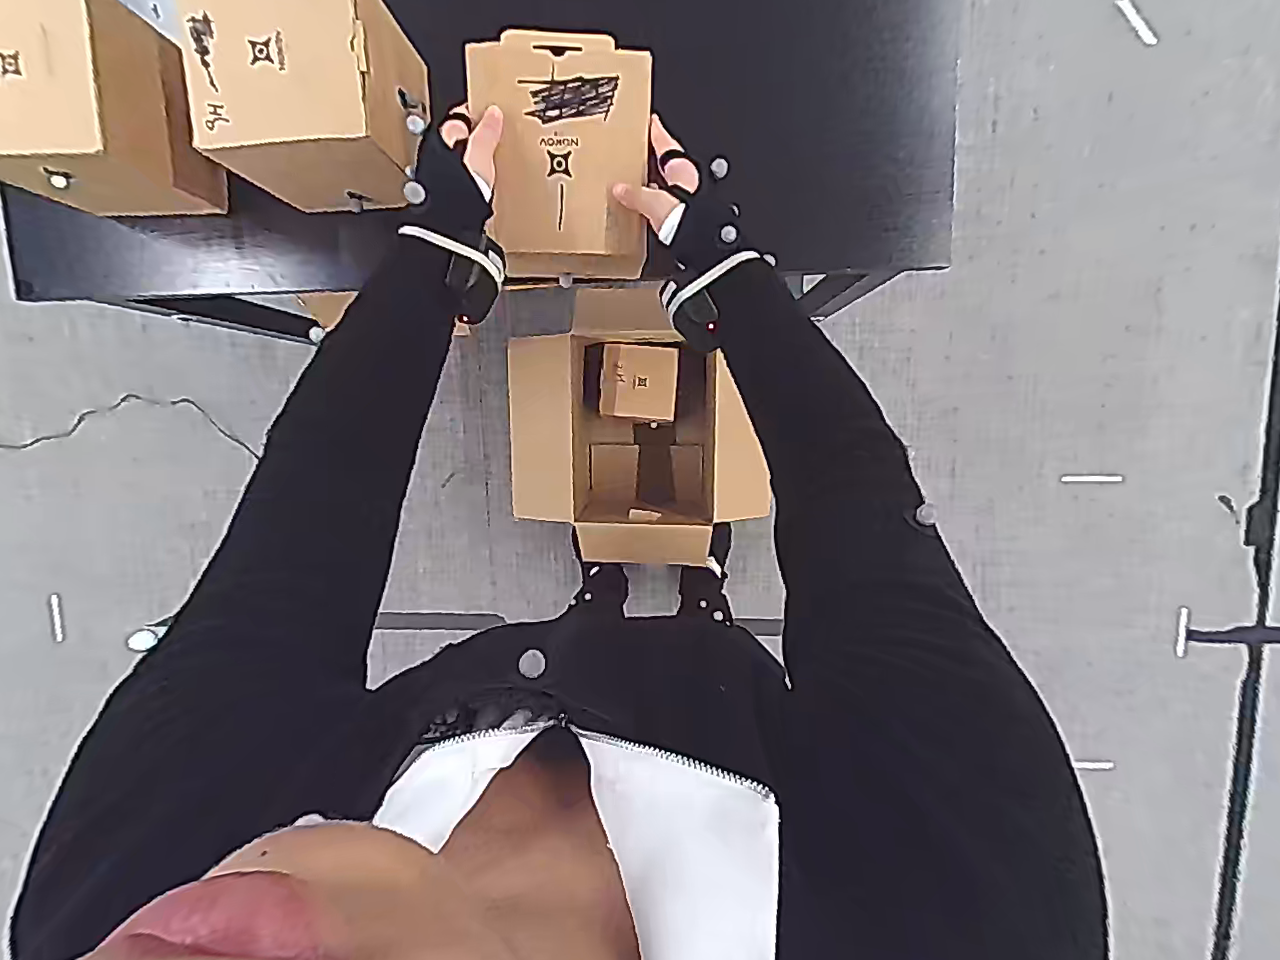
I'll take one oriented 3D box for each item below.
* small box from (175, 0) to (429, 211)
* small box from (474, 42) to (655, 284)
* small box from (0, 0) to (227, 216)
[{"bbox_3d":[-0.345,-0.410,0.589,0.179,0.176,0.168,-3,96,1],"label":"small box"},{"bbox_3d":[-0.074,-0.318,0.579,0.168,0.176,0.179,0,101,-3],"label":"small box"},{"bbox_3d":[-0.607,-0.406,0.596,0.179,0.176,0.168,0,97,1],"label":"small box"}]
